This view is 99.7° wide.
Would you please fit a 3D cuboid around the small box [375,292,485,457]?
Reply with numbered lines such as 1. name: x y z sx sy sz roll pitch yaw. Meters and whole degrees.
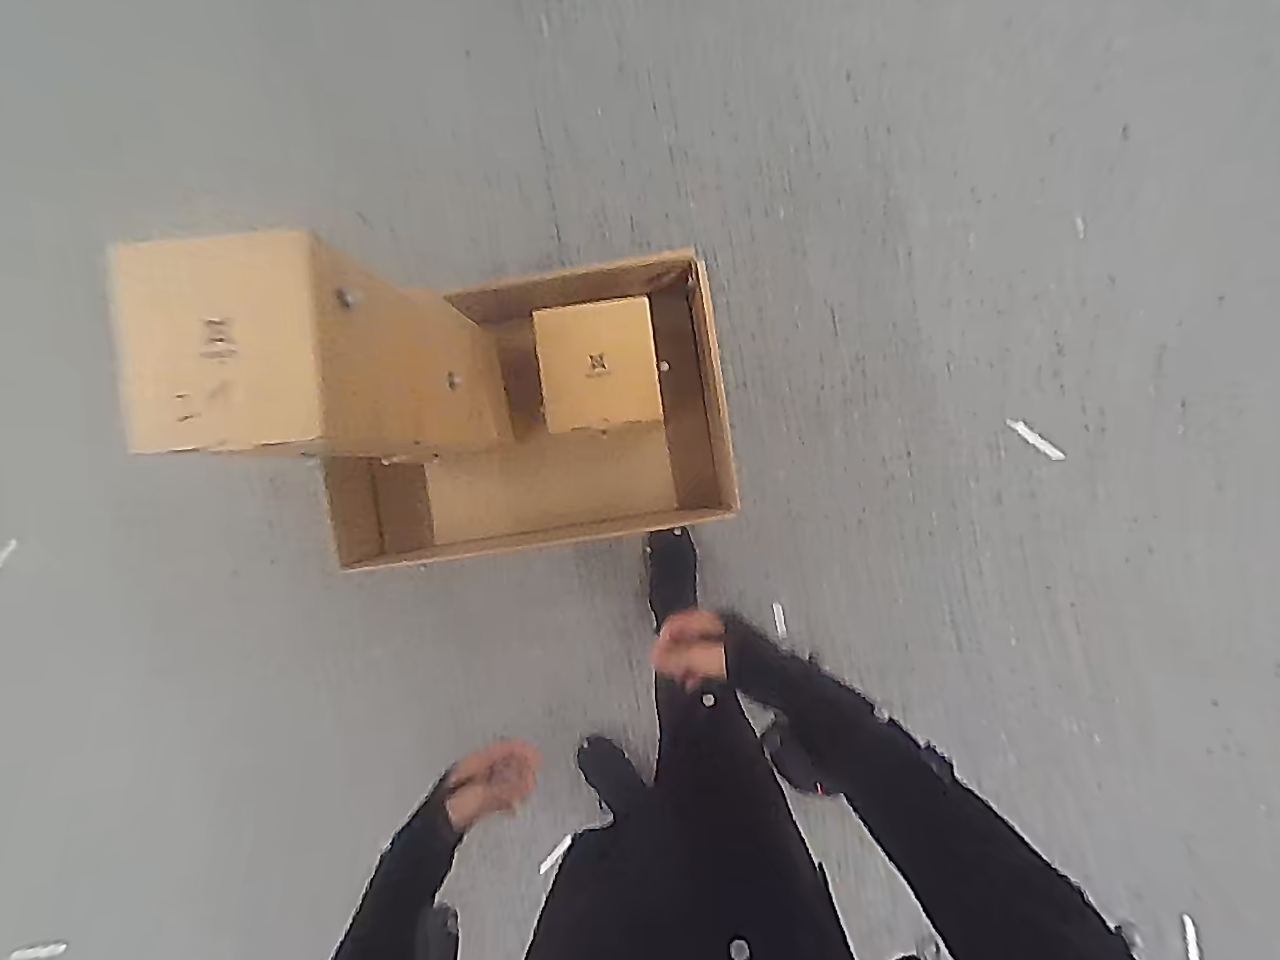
1. small box: -0.303 -0.119 0.682 0.168 0.176 0.179 -5 91 0

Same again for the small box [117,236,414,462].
1. small box: -0.335 -0.109 0.518 0.168 0.176 0.179 -4 92 1

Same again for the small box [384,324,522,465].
1. small box: -0.296 -0.123 0.846 0.168 0.176 0.179 -11 91 2

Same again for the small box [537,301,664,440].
1. small box: -0.055 -0.160 0.842 0.168 0.176 0.179 -7 92 2
